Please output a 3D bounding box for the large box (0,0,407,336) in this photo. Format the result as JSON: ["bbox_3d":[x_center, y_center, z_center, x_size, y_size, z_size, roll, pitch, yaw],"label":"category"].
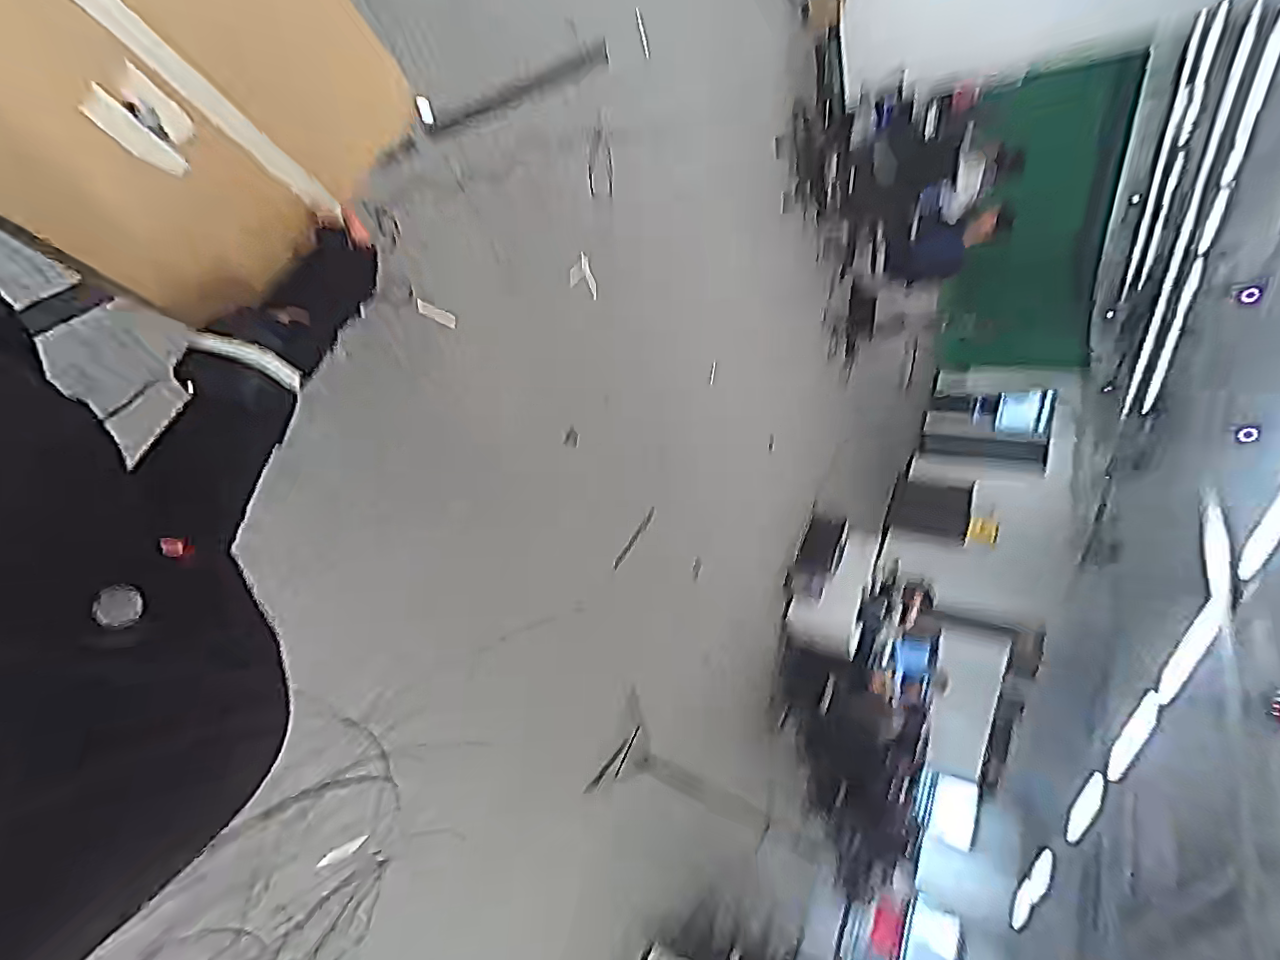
[{"bbox_3d":[-0.502,-0.382,0.436,0.320,0.320,0.408,-61,148,-10],"label":"large box"}]
